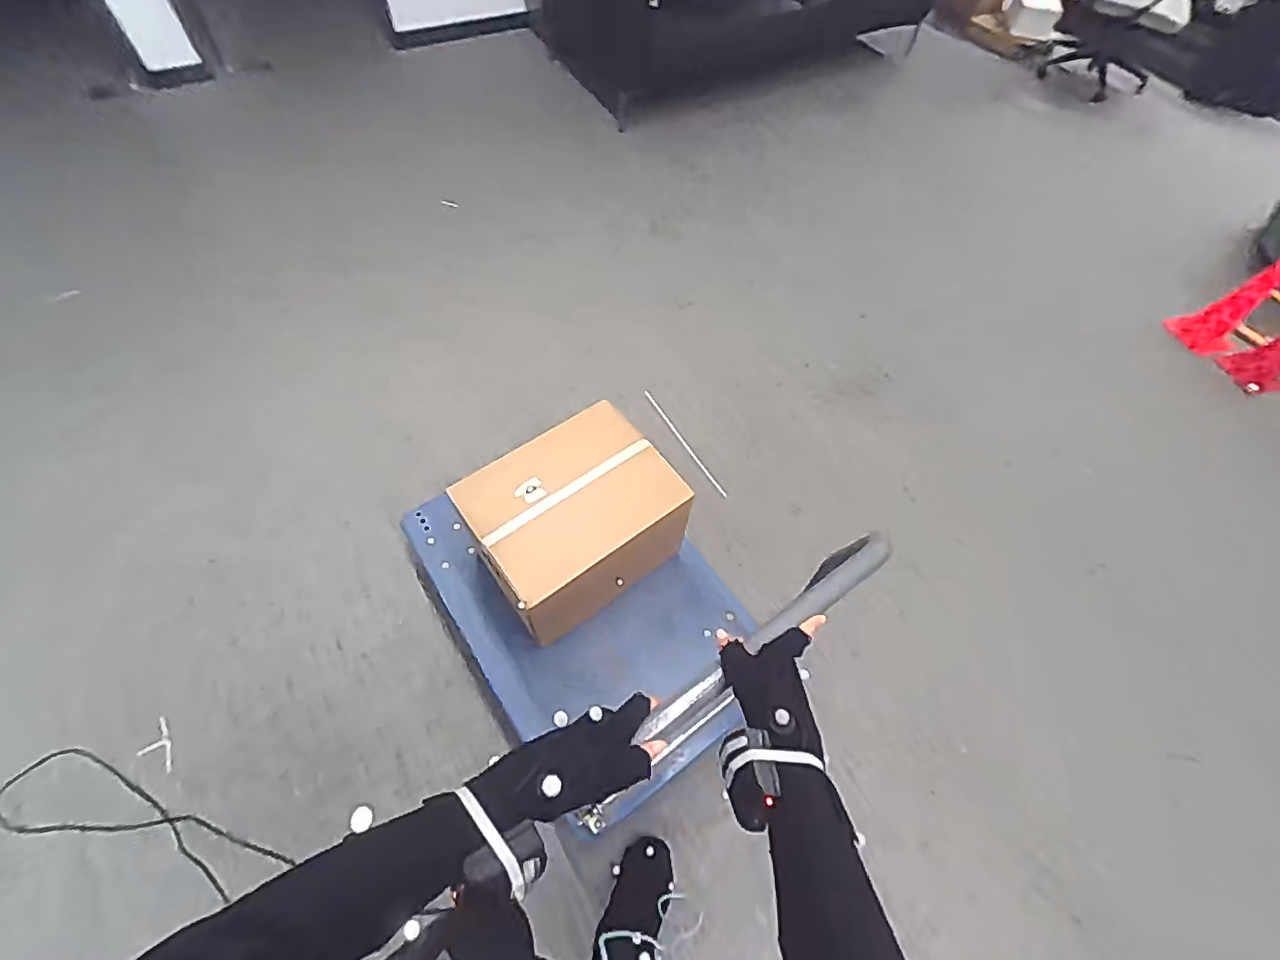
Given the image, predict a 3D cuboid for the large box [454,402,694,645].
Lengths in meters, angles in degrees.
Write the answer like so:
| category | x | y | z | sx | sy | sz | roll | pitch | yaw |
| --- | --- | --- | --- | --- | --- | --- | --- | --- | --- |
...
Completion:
| category | x | y | z | sx | sy | sz | roll | pitch | yaw |
| --- | --- | --- | --- | --- | --- | --- | --- | --- | --- |
| large box | -0.138 | 0.103 | 1.233 | 0.408 | 0.320 | 0.320 | -34 | 67 | -20 |
